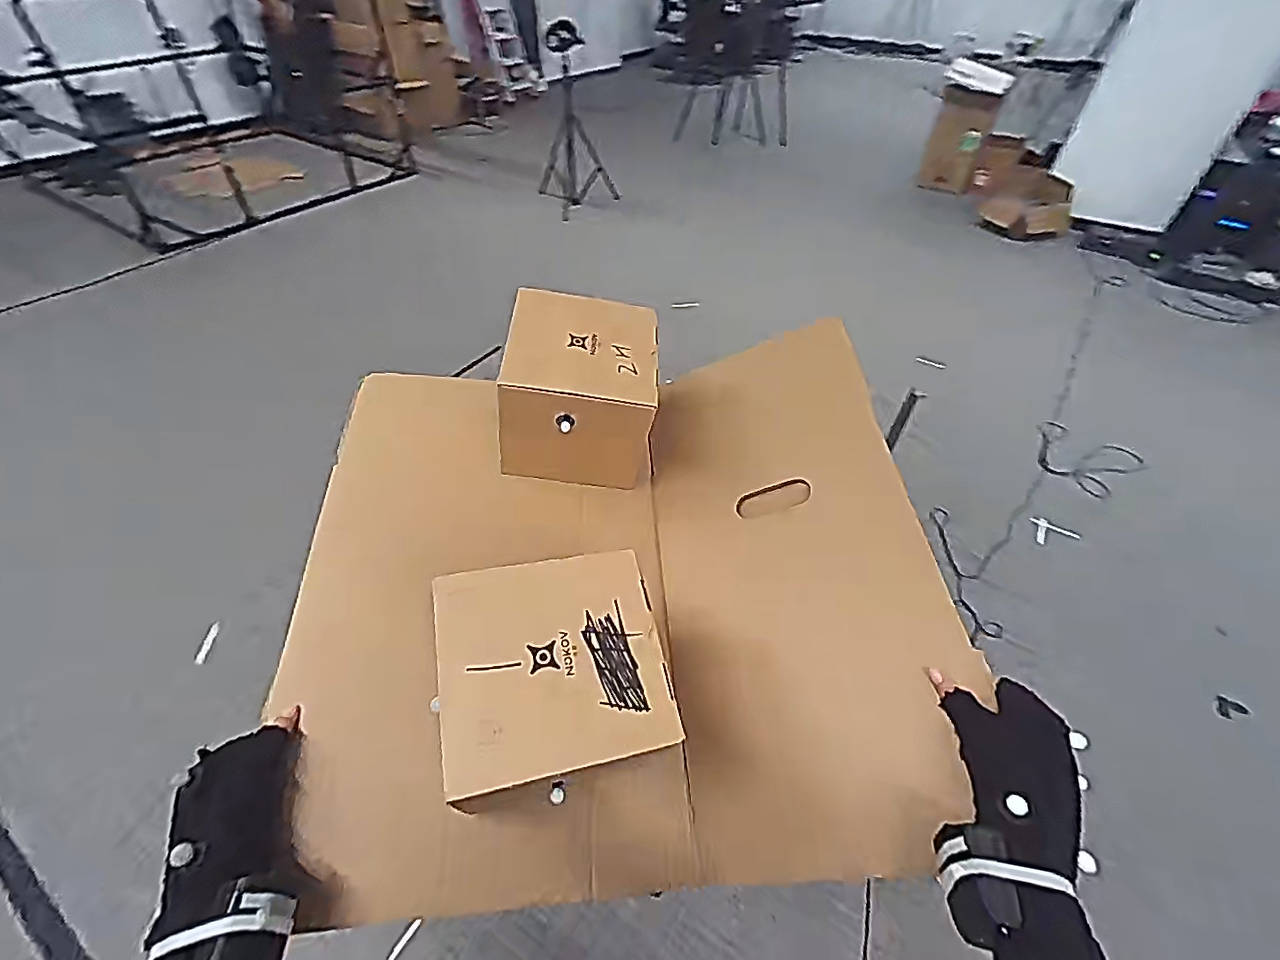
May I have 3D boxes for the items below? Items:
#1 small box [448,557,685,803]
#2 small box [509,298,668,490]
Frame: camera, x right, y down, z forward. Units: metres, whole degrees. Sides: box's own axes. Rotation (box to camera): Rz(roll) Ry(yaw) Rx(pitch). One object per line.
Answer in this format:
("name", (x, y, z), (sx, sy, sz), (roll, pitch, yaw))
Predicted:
("small box", (-0.078, 0.187, 0.502), (0.179, 0.176, 0.168), (-5, 58, -15))
("small box", (-0.068, -0.104, 0.701), (0.179, 0.176, 0.168), (9, 55, -8))
